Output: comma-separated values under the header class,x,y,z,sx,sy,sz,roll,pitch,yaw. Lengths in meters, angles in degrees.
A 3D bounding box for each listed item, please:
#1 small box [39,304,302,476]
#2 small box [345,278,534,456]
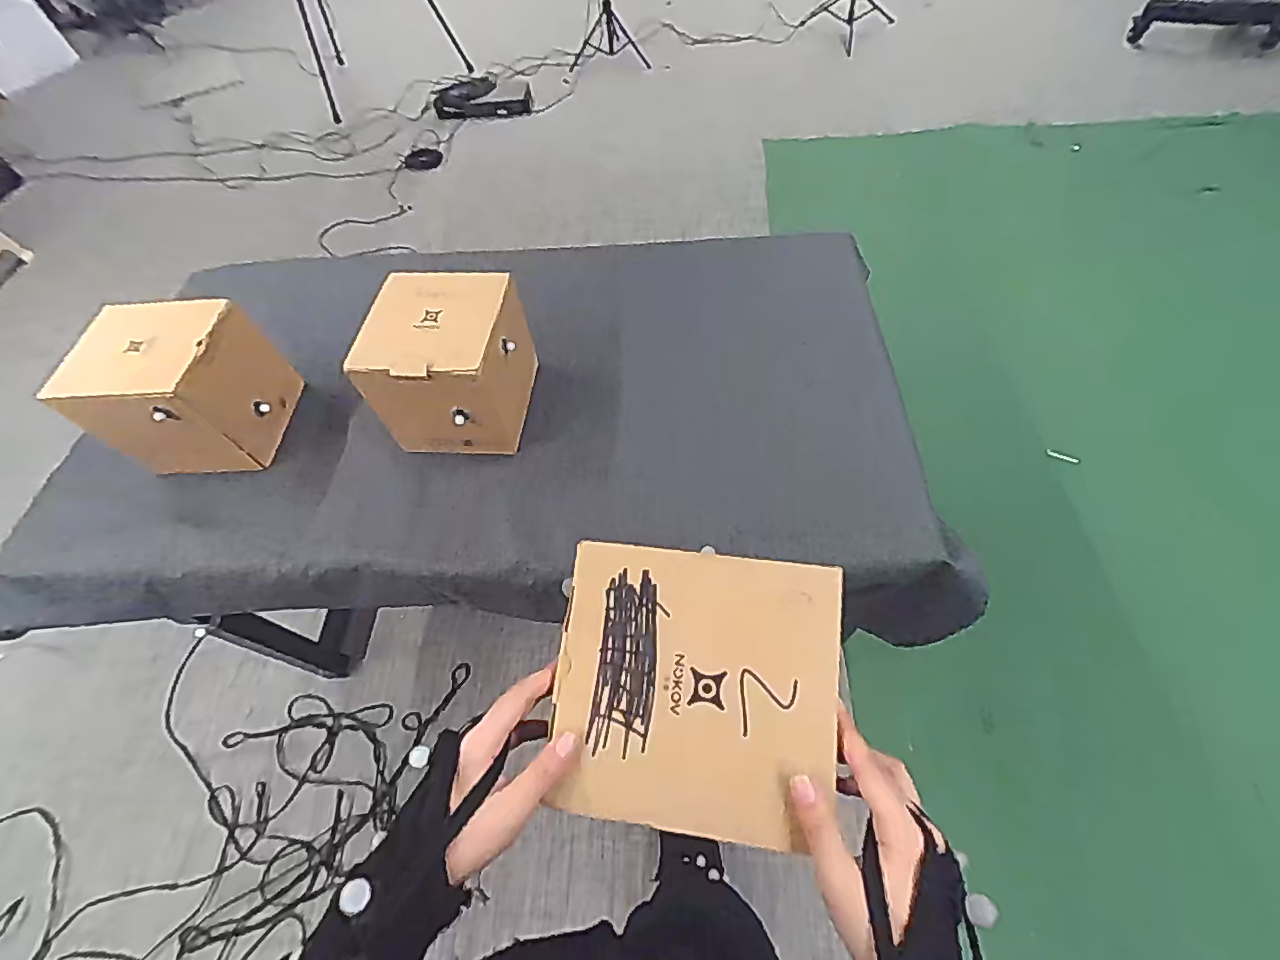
class,x,y,z,sx,sy,sz,roll,pitch,yaw
small box,-0.617,-0.117,0.741,0.179,0.176,0.168,-2,57,3
small box,-0.250,-0.147,0.728,0.168,0.176,0.179,2,57,5
